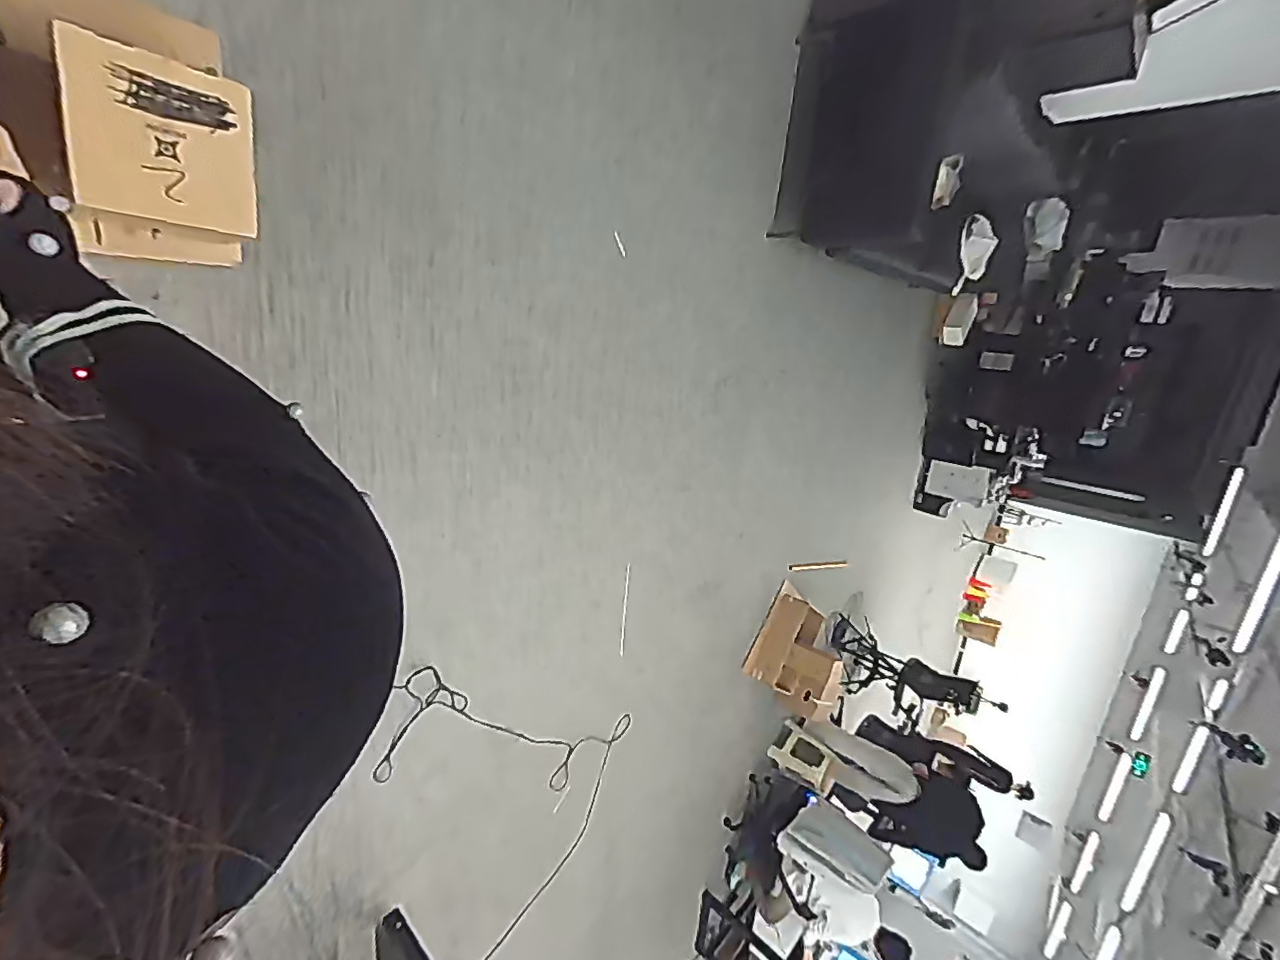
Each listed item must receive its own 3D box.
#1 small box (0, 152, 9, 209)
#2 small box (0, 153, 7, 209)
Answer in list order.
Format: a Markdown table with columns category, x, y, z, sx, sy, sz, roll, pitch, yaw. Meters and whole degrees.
| category | x | y | z | sx | sy | sz | roll | pitch | yaw |
| --- | --- | --- | --- | --- | --- | --- | --- | --- | --- |
| small box | -0.753 | -0.377 | 0.523 | 0.168 | 0.176 | 0.179 | -10 | 114 | -47 |
| small box | -0.637 | -0.323 | 0.424 | 0.168 | 0.176 | 0.179 | -12 | 115 | -47 |
